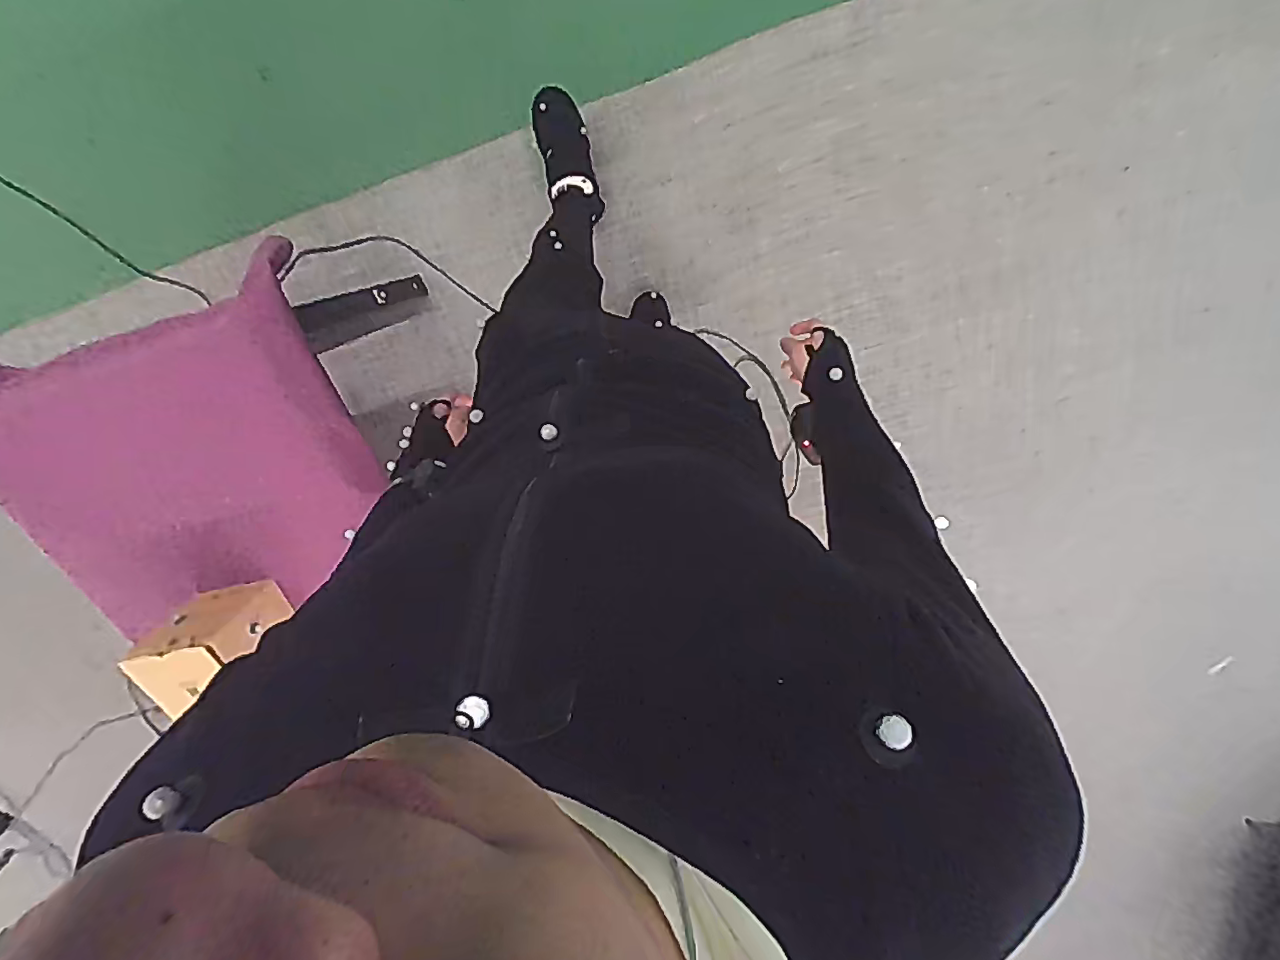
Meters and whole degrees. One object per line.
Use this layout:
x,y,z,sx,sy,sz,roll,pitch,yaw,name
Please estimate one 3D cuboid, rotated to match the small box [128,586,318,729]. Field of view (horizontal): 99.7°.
-0.729,0.309,0.970,0.168,0.176,0.179,-12,116,8,small box
